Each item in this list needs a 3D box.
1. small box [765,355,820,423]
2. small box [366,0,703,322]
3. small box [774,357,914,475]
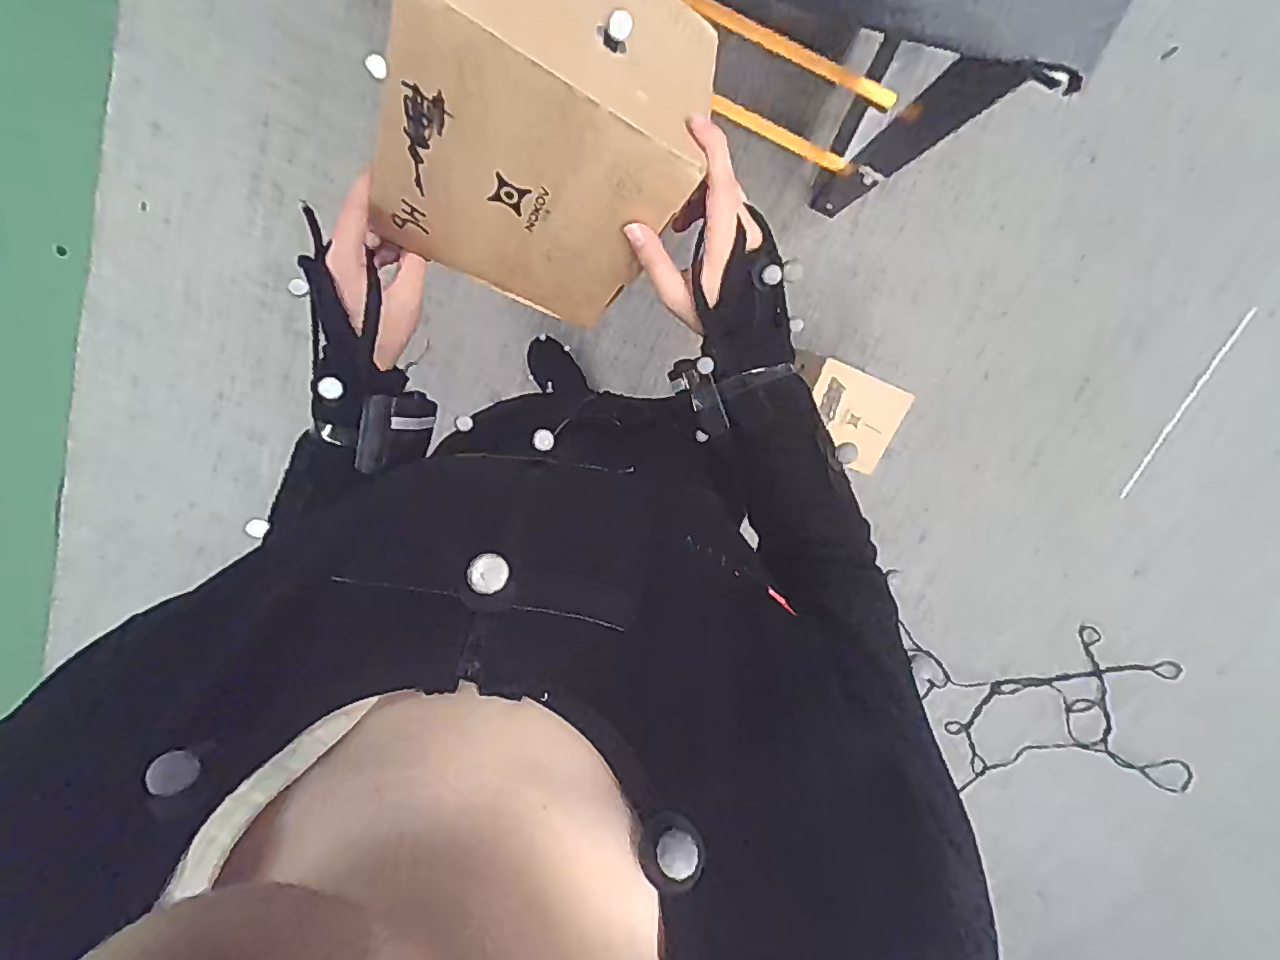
[{"bbox_3d":[0.404,-0.173,1.213,0.179,0.176,0.168,25,104,-5],"label":"small box"},{"bbox_3d":[-0.068,-0.253,0.379,0.179,0.176,0.168,19,150,-24],"label":"small box"},{"bbox_3d":[0.383,-0.132,1.055,0.179,0.176,0.168,23,105,-4],"label":"small box"}]
